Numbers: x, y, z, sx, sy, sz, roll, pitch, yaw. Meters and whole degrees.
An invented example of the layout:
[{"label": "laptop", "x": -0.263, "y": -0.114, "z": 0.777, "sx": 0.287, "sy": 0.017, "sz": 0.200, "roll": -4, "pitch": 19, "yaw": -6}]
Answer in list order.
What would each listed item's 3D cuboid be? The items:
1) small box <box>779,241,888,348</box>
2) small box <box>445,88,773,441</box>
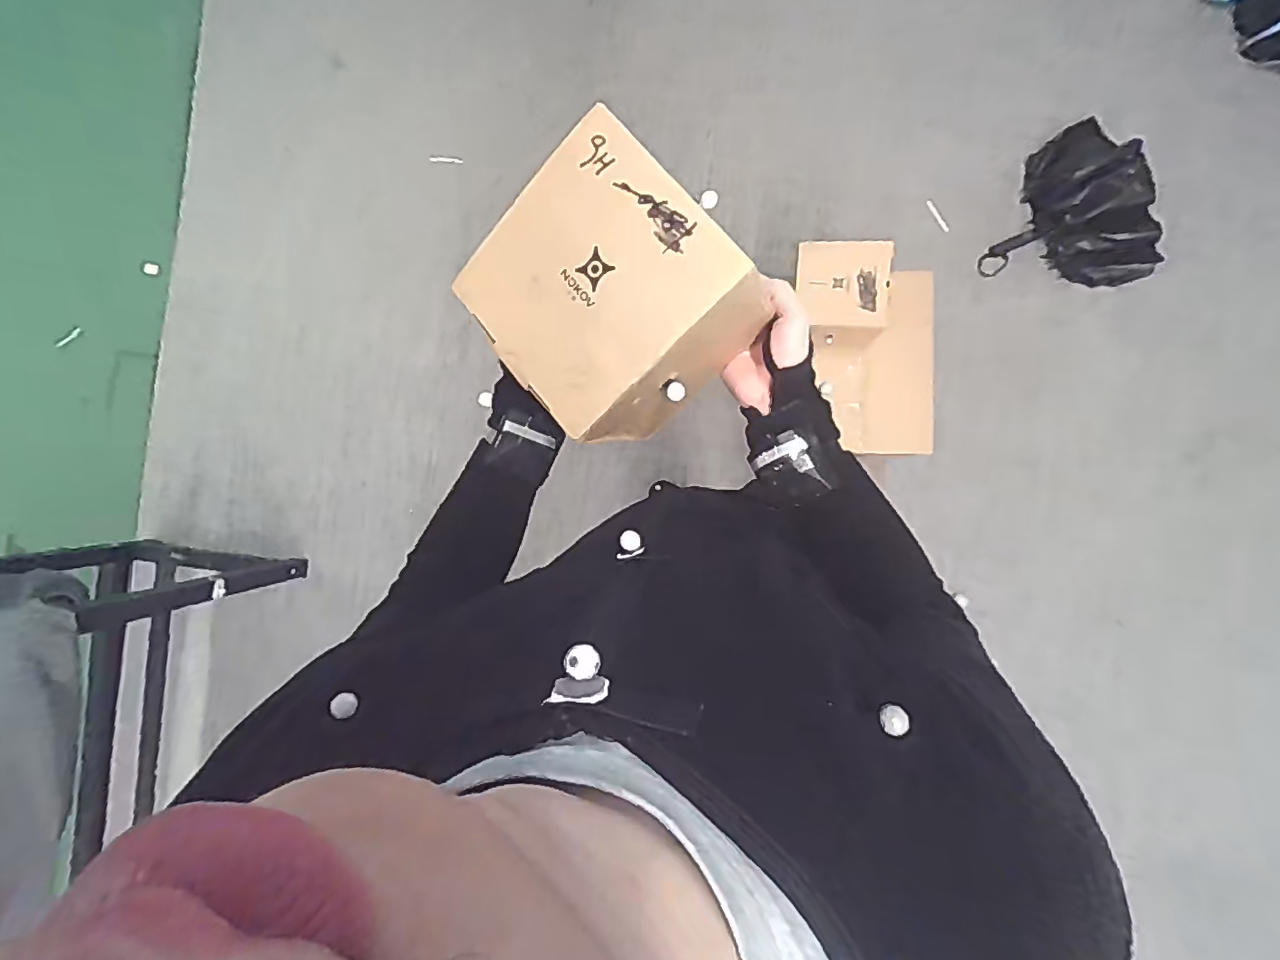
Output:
[{"label": "small box", "x": 0.389, "y": -0.373, "z": 1.112, "sx": 0.179, "sy": 0.176, "sz": 0.168, "roll": 4, "pitch": 90, "yaw": 10}, {"label": "small box", "x": -0.011, "y": -0.148, "z": 0.442, "sx": 0.179, "sy": 0.176, "sz": 0.168, "roll": -44, "pitch": 81, "yaw": 17}]
